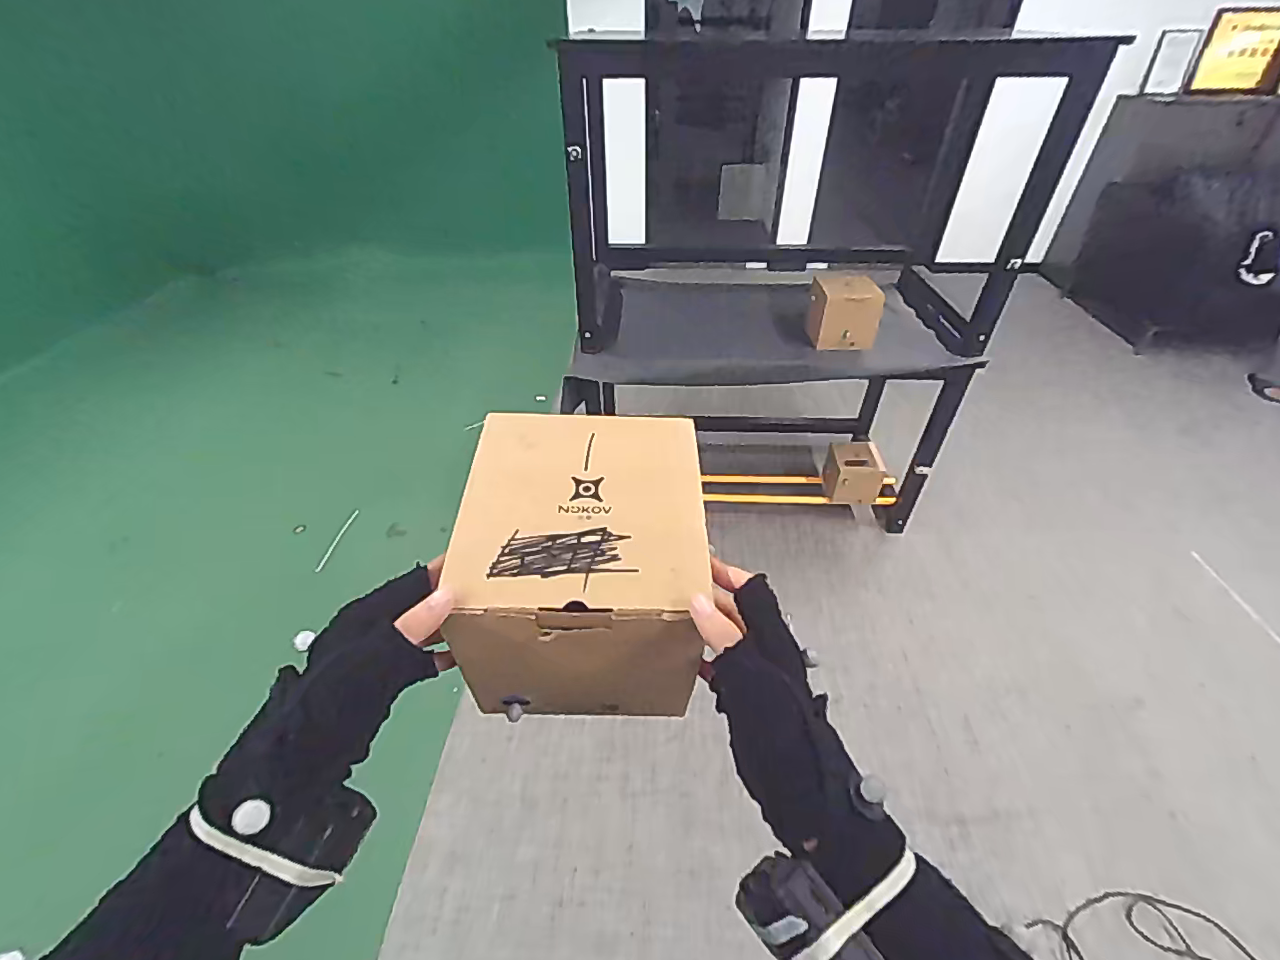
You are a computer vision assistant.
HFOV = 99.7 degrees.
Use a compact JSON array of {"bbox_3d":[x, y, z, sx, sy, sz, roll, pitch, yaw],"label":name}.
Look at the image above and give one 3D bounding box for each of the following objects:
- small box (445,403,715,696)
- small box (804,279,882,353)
[{"bbox_3d":[-0.037,0.059,0.434,0.168,0.176,0.179,2,47,-2],"label":"small box"},{"bbox_3d":[0.612,-0.505,1.657,0.168,0.176,0.179,0,39,2],"label":"small box"}]
